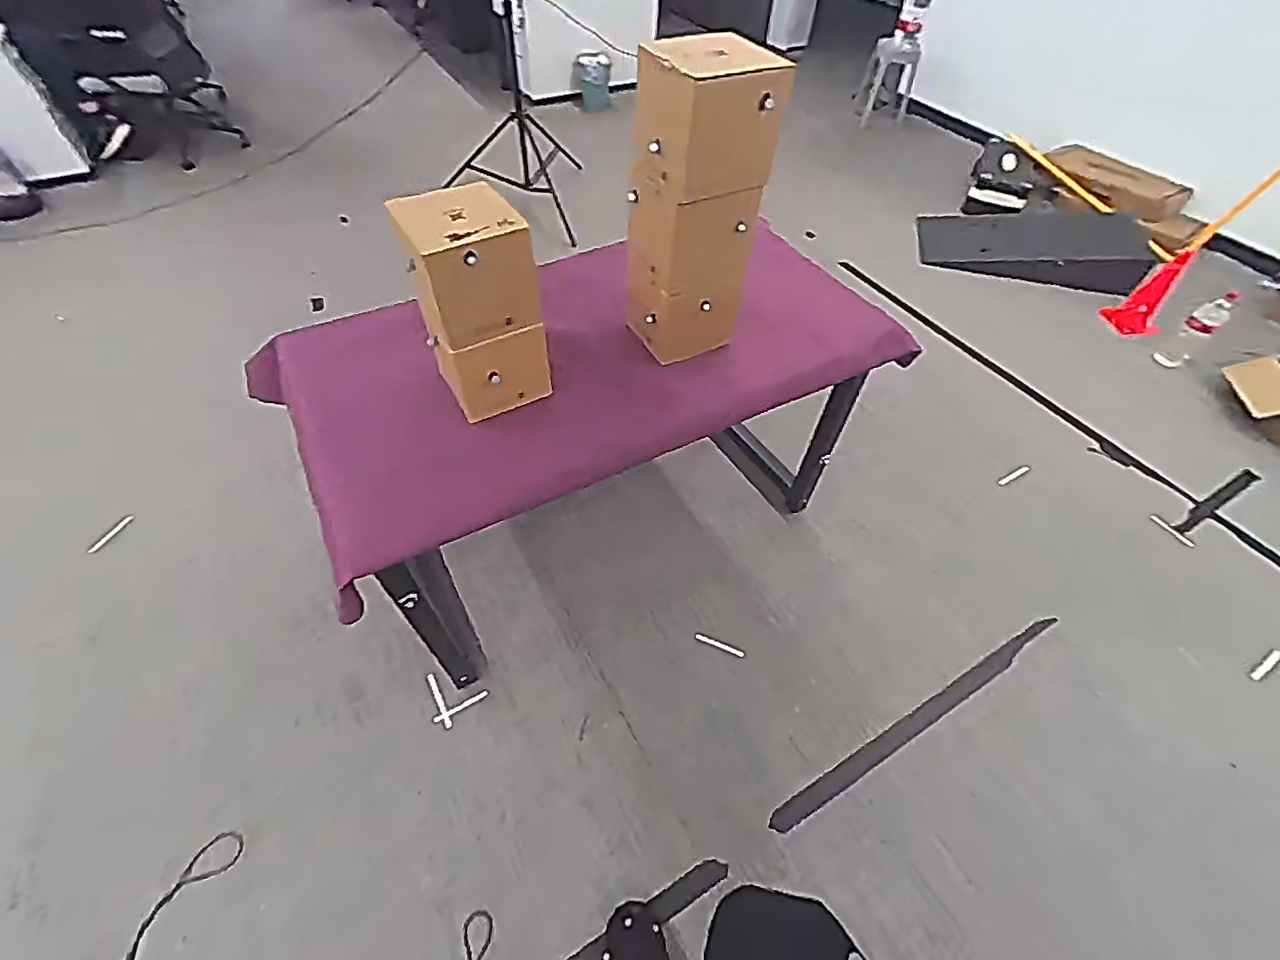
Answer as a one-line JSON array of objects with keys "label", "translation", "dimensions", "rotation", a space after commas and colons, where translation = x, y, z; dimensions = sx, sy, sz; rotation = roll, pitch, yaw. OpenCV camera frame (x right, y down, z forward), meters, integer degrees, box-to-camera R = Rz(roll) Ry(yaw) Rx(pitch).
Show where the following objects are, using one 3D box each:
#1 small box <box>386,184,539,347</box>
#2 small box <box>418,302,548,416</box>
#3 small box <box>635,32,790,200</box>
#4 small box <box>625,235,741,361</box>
[{"label": "small box", "translation": [-0.281, -0.347, 0.876], "dimensions": [0.168, 0.176, 0.179], "rotation": [-27, 57, -20]}, {"label": "small box", "translation": [-0.283, -0.241, 1.002], "dimensions": [0.168, 0.176, 0.179], "rotation": [-25, 57, -20]}, {"label": "small box", "translation": [0.102, -0.574, 0.856], "dimensions": [0.179, 0.176, 0.168], "rotation": [-23, 57, -18]}, {"label": "small box", "translation": [0.082, -0.372, 1.116], "dimensions": [0.179, 0.176, 0.168], "rotation": [-22, 57, -19]}]
